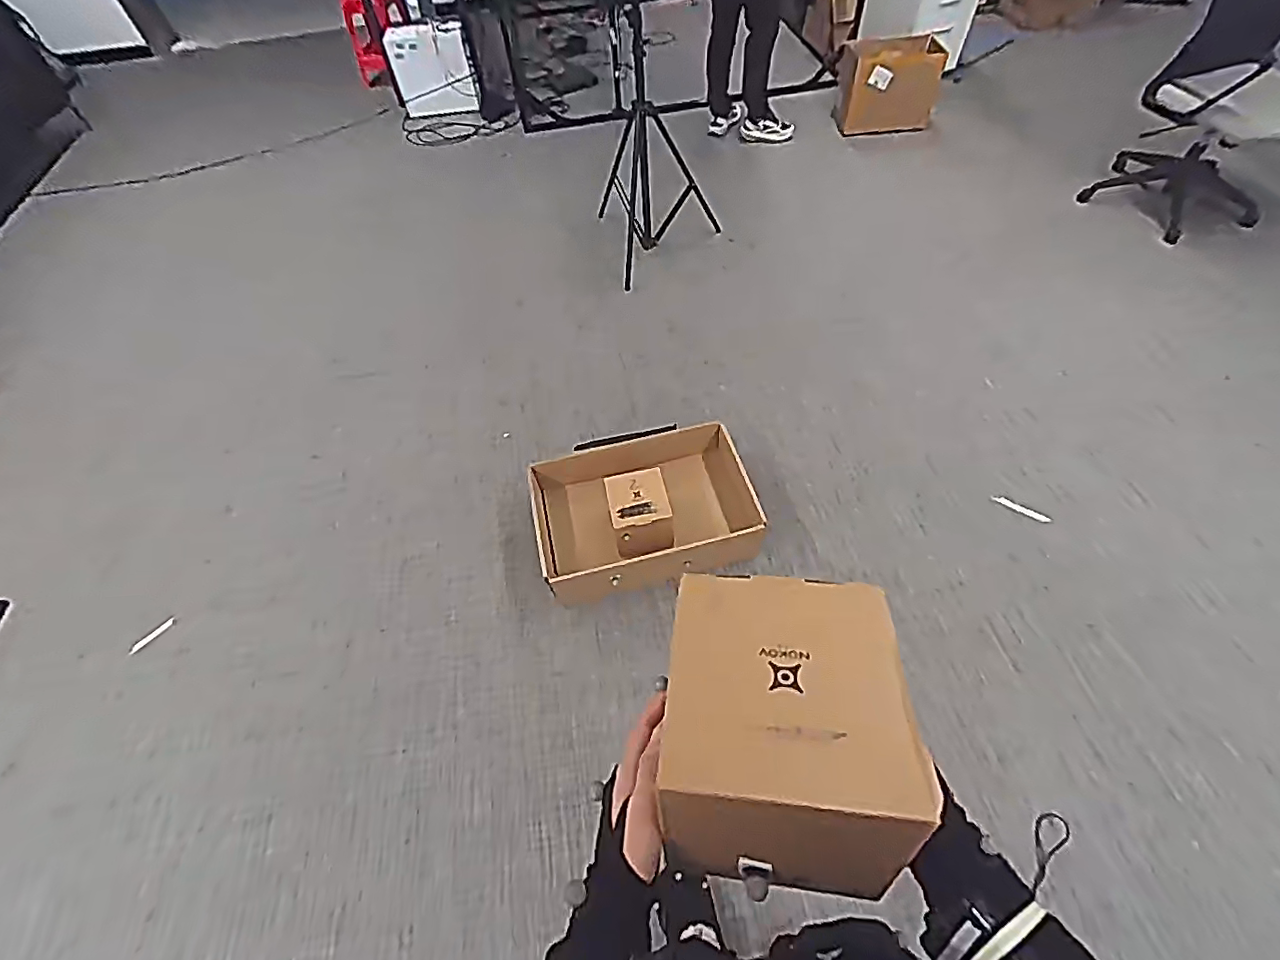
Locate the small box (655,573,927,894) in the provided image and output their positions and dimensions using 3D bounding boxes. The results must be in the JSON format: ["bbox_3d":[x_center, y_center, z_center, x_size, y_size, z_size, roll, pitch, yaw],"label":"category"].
[{"bbox_3d":[0.105,0.200,0.442,0.168,0.176,0.179,1,41,9],"label":"small box"}]
